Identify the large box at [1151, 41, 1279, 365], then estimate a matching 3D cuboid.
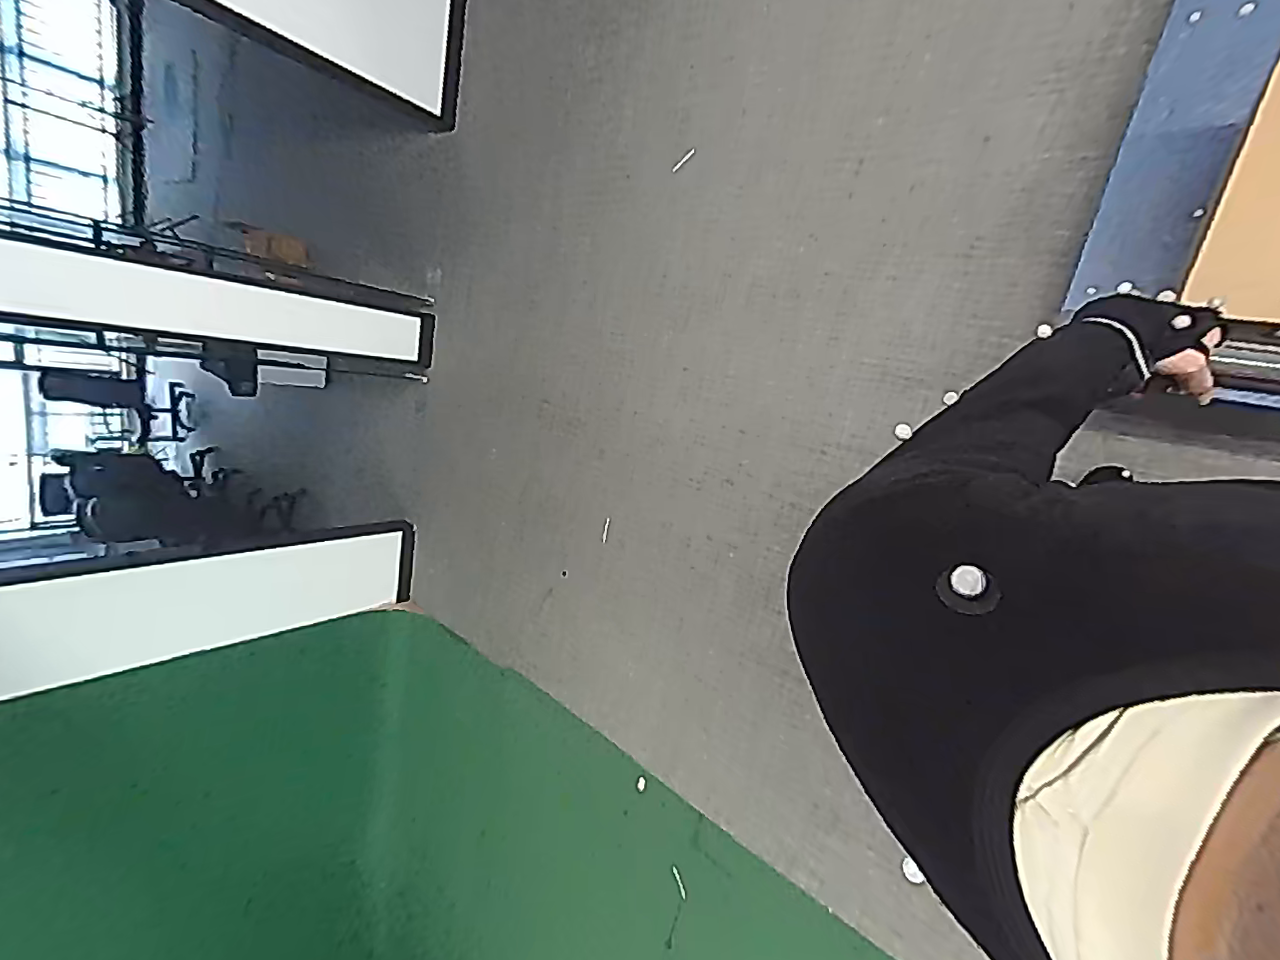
[{"bbox_3d":[1.076,-0.399,0.836,0.320,0.320,0.408,20,104,35],"label":"large box"}]
